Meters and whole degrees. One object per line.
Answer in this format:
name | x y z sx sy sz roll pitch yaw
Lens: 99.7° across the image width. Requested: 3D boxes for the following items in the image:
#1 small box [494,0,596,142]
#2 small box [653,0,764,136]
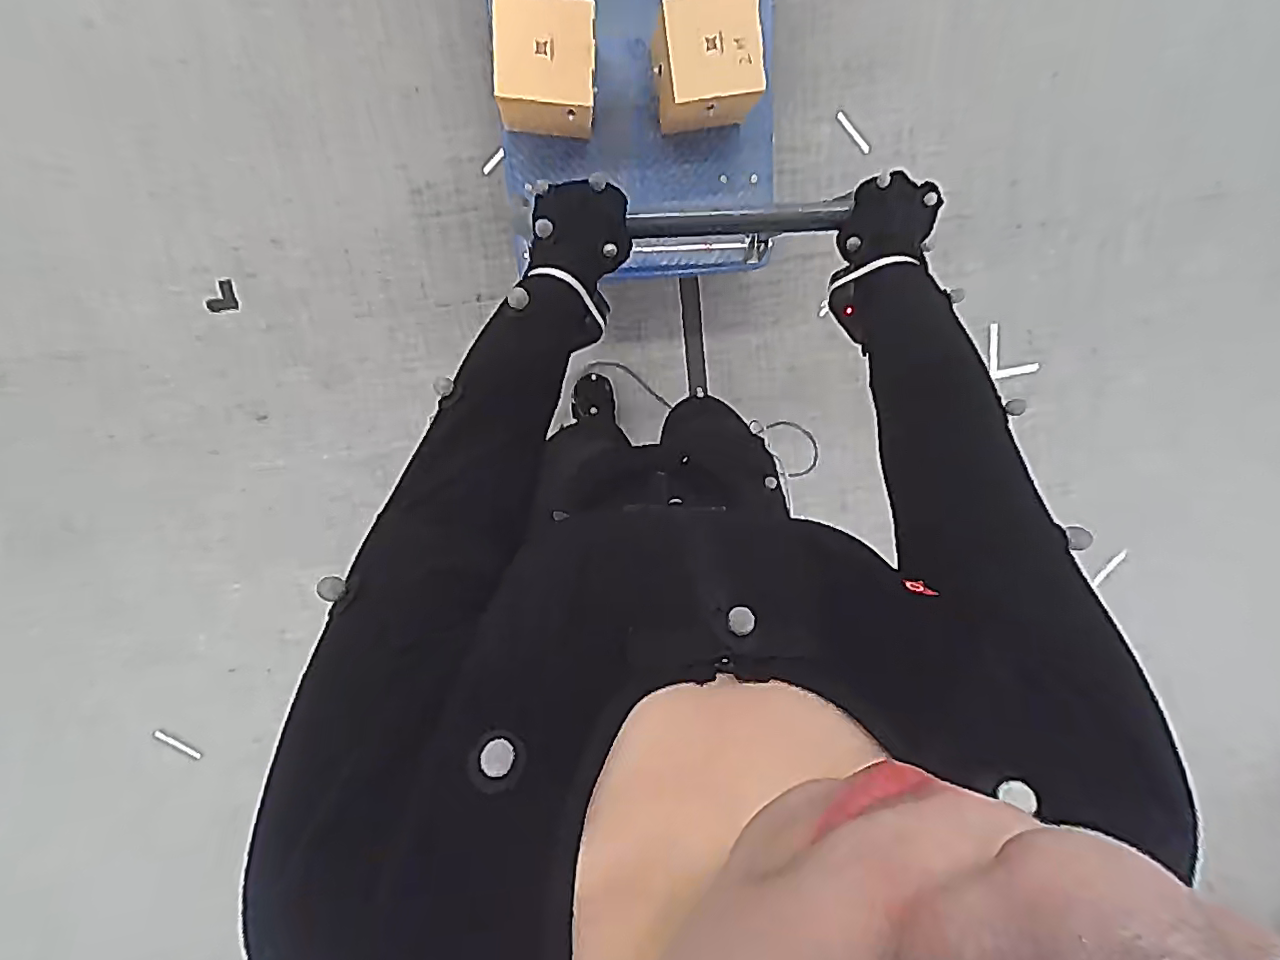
small box | -0.177 -0.766 1.025 0.179 0.176 0.168 0 105 -9
small box | 0.125 -0.795 1.054 0.179 0.176 0.168 -11 107 -4
